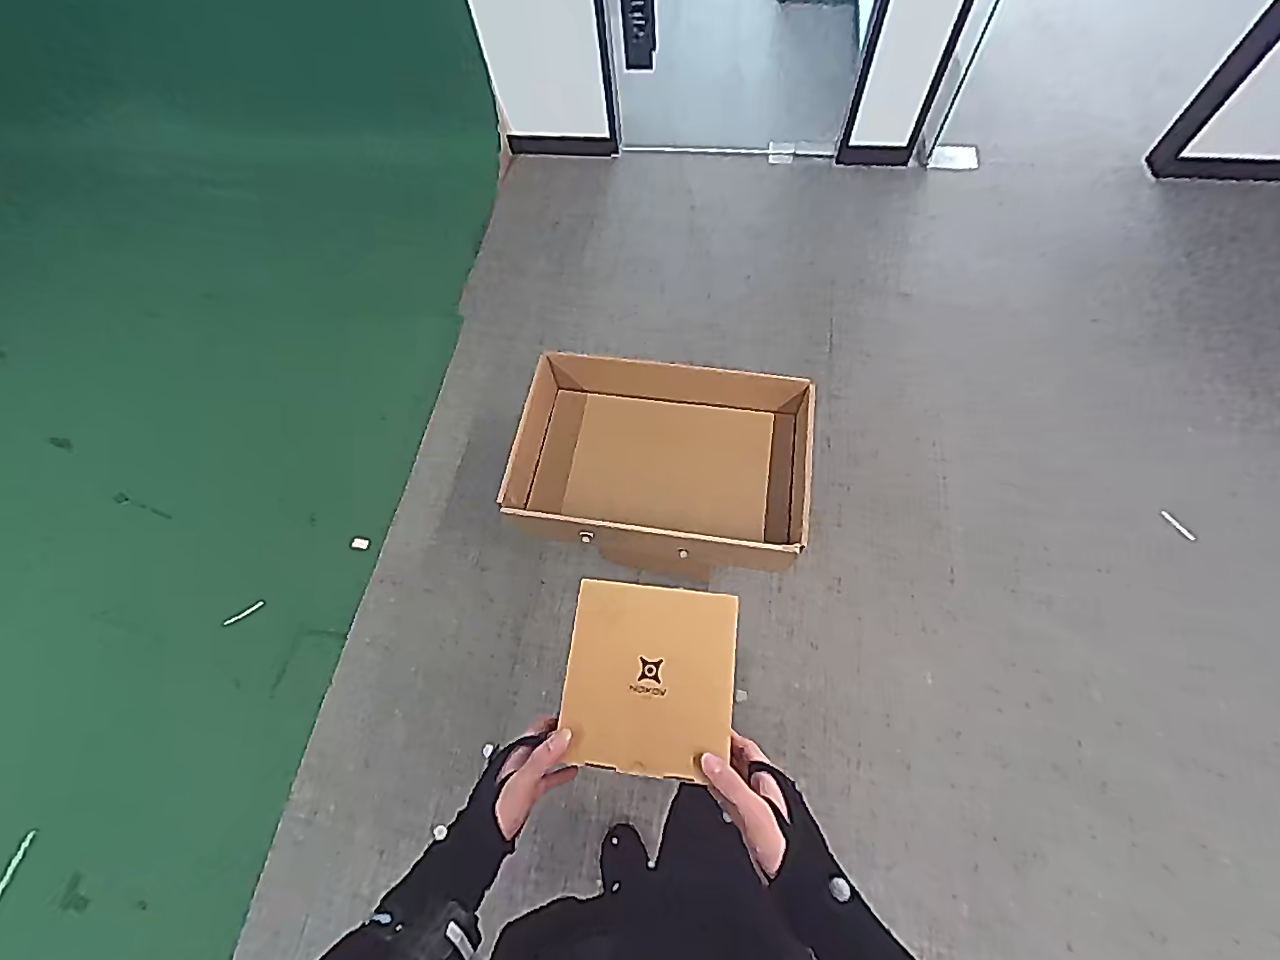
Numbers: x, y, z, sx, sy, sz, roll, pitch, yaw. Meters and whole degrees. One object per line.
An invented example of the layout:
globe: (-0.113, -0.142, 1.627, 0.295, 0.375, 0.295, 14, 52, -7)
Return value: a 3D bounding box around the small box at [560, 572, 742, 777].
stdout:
small box: (0.017, 0.213, 0.606, 0.168, 0.176, 0.179, 5, 70, 5)
